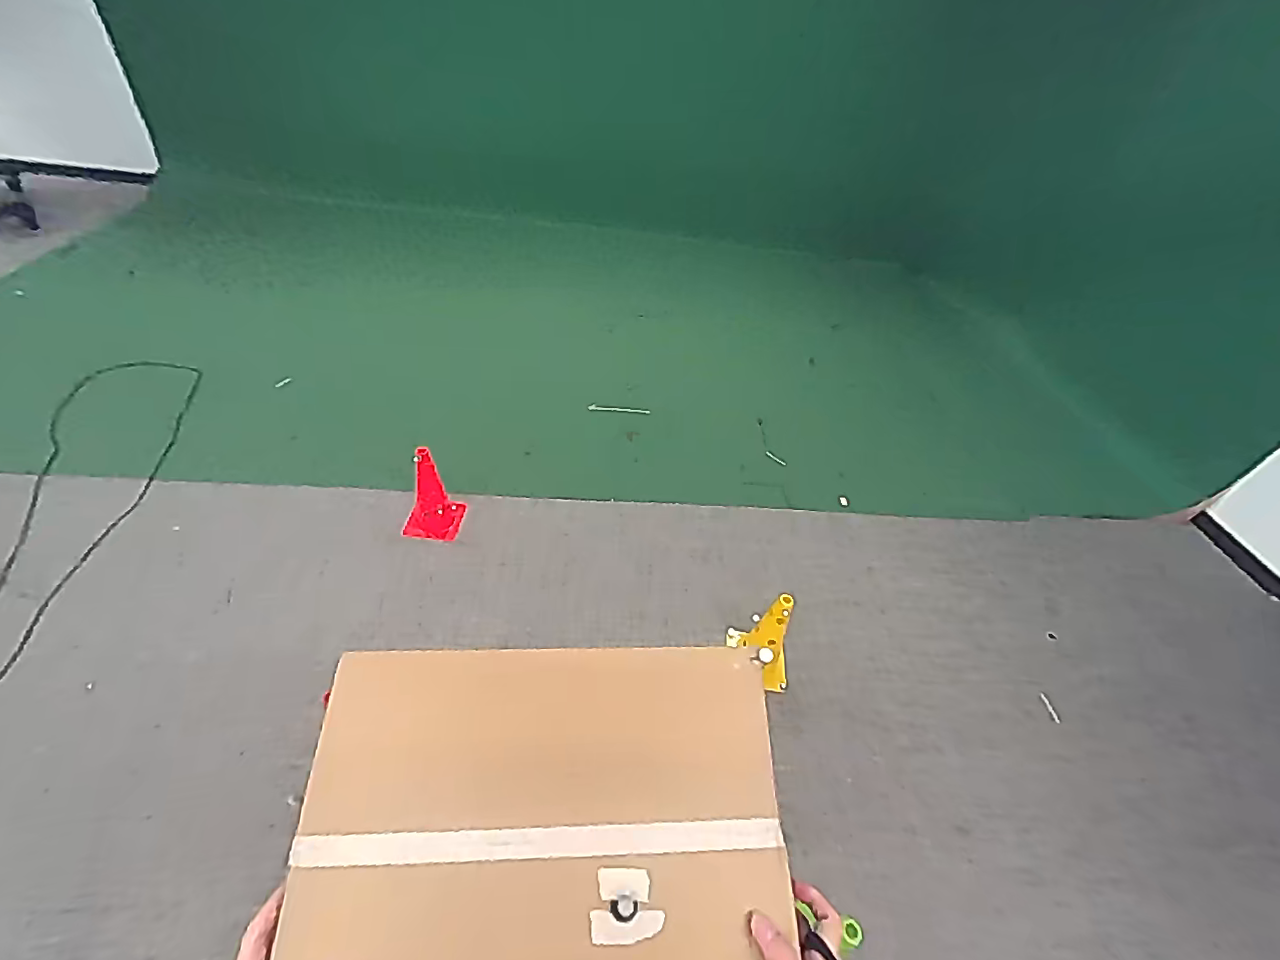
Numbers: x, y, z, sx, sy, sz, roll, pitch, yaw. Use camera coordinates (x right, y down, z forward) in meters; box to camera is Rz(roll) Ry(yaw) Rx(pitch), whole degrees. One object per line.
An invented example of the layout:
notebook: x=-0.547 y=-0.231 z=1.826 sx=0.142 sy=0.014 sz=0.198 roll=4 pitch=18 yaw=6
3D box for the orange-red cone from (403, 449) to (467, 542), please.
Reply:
orange-red cone: x=-0.776 y=0.034 z=1.983 sx=0.199 sy=0.360 sz=0.198 roll=7 pitch=42 yaw=0

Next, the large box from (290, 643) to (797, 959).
large box: x=-0.086 y=0.374 z=0.596 sx=0.408 sy=0.320 sz=0.320 roll=0 pitch=62 yaw=-4
